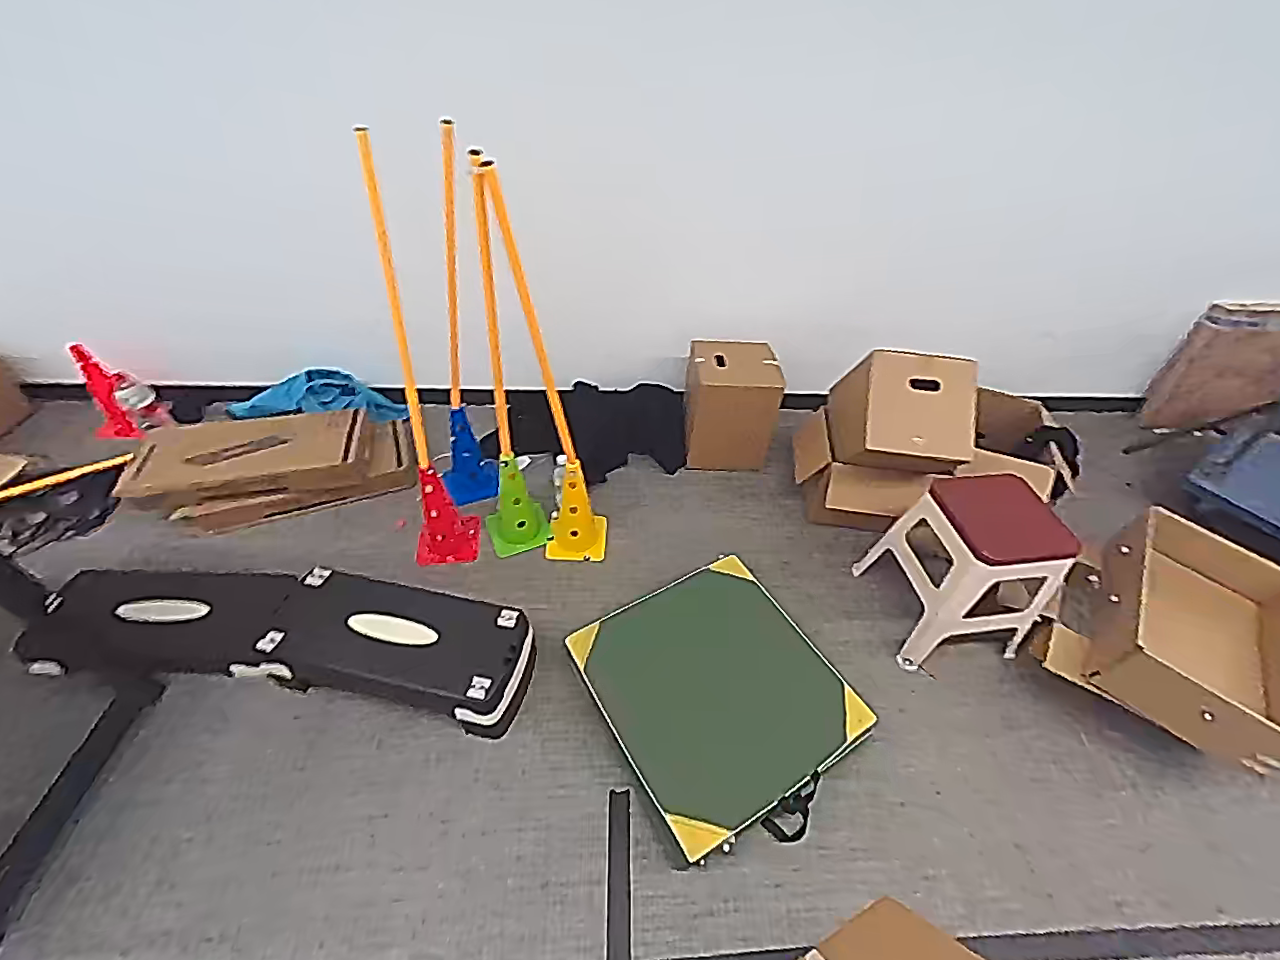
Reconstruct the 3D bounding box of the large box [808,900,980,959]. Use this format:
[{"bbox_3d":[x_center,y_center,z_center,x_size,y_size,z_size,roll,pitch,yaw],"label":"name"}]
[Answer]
[{"bbox_3d":[0.370,0.799,0.606,0.320,0.408,0.320,-22,81,-18],"label":"large box"}]
